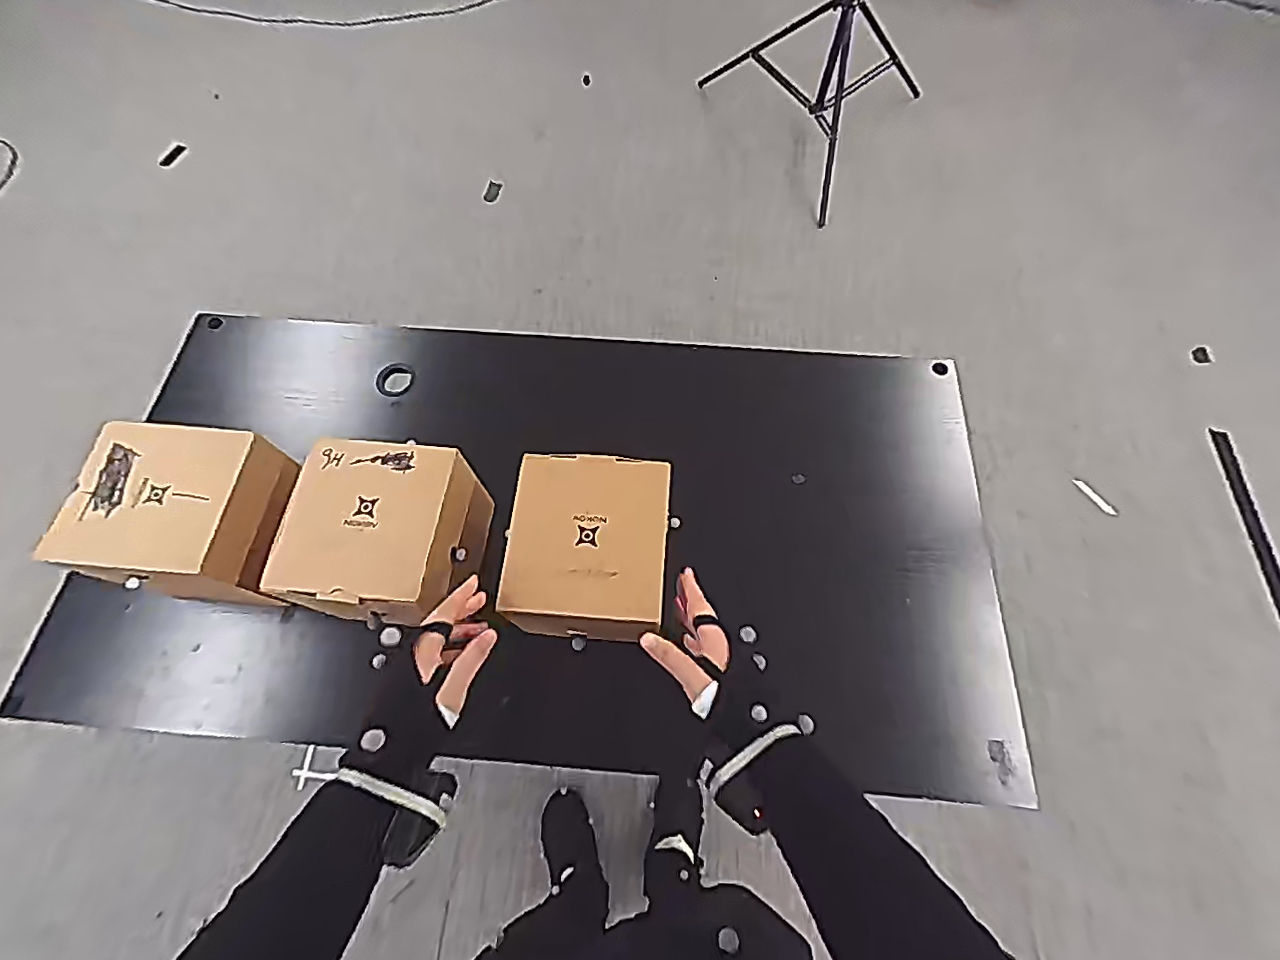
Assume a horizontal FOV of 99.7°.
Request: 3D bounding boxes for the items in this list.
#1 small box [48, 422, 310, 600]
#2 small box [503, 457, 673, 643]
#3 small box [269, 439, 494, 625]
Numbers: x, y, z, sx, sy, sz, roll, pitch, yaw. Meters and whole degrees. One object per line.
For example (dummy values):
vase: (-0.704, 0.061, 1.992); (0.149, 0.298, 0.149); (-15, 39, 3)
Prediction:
small box: (-0.518, 0.046, 0.658); (0.179, 0.176, 0.168); (5, 67, 1)
small box: (-0.049, 0.089, 0.642); (0.168, 0.176, 0.179); (3, 68, 3)
small box: (-0.287, 0.071, 0.648); (0.168, 0.176, 0.179); (5, 67, 3)
